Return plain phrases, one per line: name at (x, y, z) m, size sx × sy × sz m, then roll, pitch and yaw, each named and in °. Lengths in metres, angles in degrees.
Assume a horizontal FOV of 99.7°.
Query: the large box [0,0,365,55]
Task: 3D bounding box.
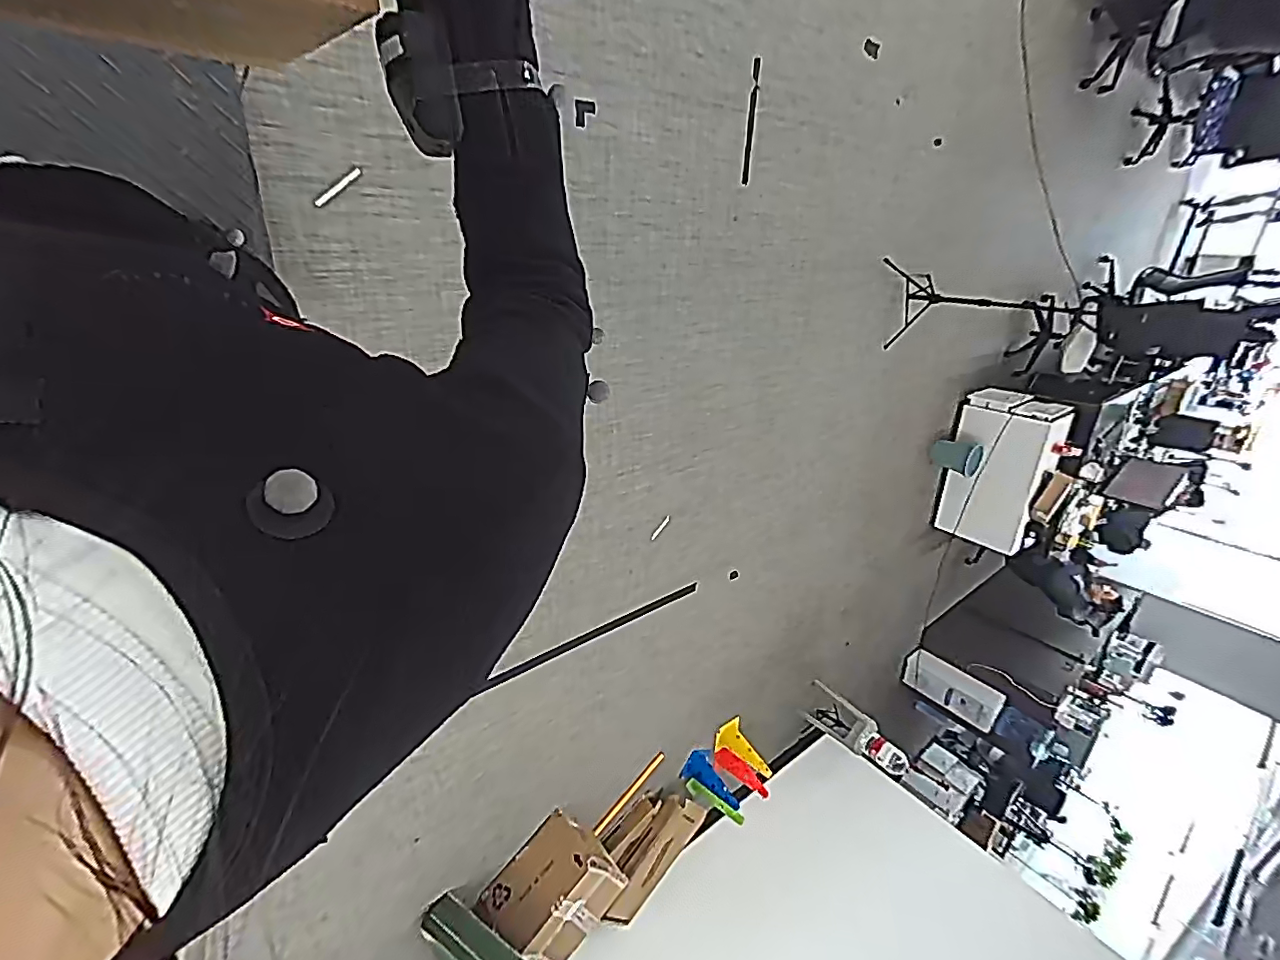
large box at (-0.382, -0.405, 0.209) m, size 0.408 × 0.320 × 0.320 m, roll -18°, pitch 127°, yaw -36°
